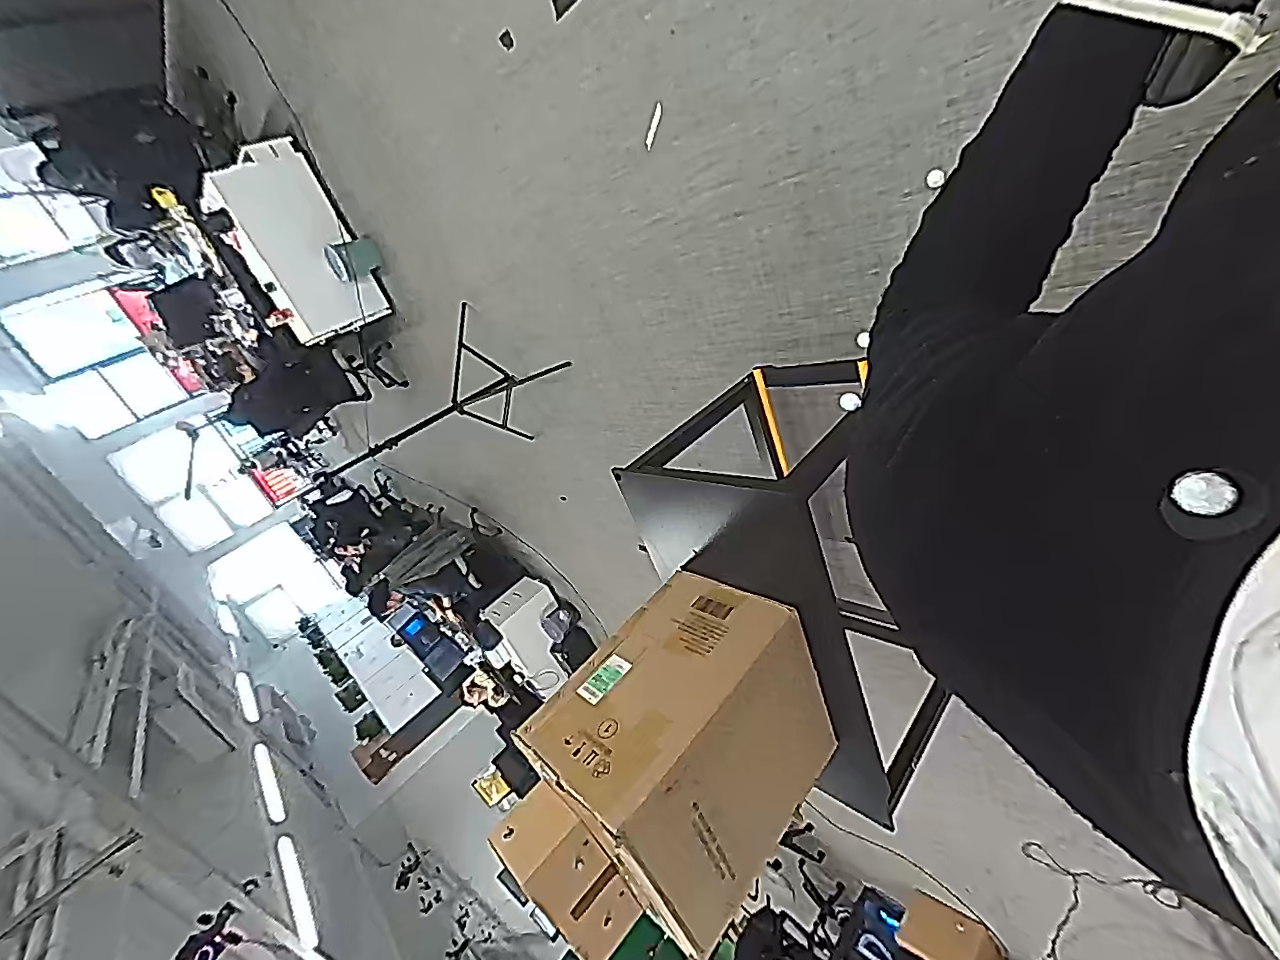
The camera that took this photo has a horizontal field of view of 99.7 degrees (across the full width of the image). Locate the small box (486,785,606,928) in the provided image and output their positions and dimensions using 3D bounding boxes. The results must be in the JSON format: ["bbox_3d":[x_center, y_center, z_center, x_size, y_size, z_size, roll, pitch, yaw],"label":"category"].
[{"bbox_3d":[-0.209,0.831,1.217,0.179,0.176,0.168,8,129,52],"label":"small box"}]

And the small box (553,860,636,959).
[{"bbox_3d":[-0.132,1.020,1.318,0.179,0.176,0.168,4,125,52],"label":"small box"}]
